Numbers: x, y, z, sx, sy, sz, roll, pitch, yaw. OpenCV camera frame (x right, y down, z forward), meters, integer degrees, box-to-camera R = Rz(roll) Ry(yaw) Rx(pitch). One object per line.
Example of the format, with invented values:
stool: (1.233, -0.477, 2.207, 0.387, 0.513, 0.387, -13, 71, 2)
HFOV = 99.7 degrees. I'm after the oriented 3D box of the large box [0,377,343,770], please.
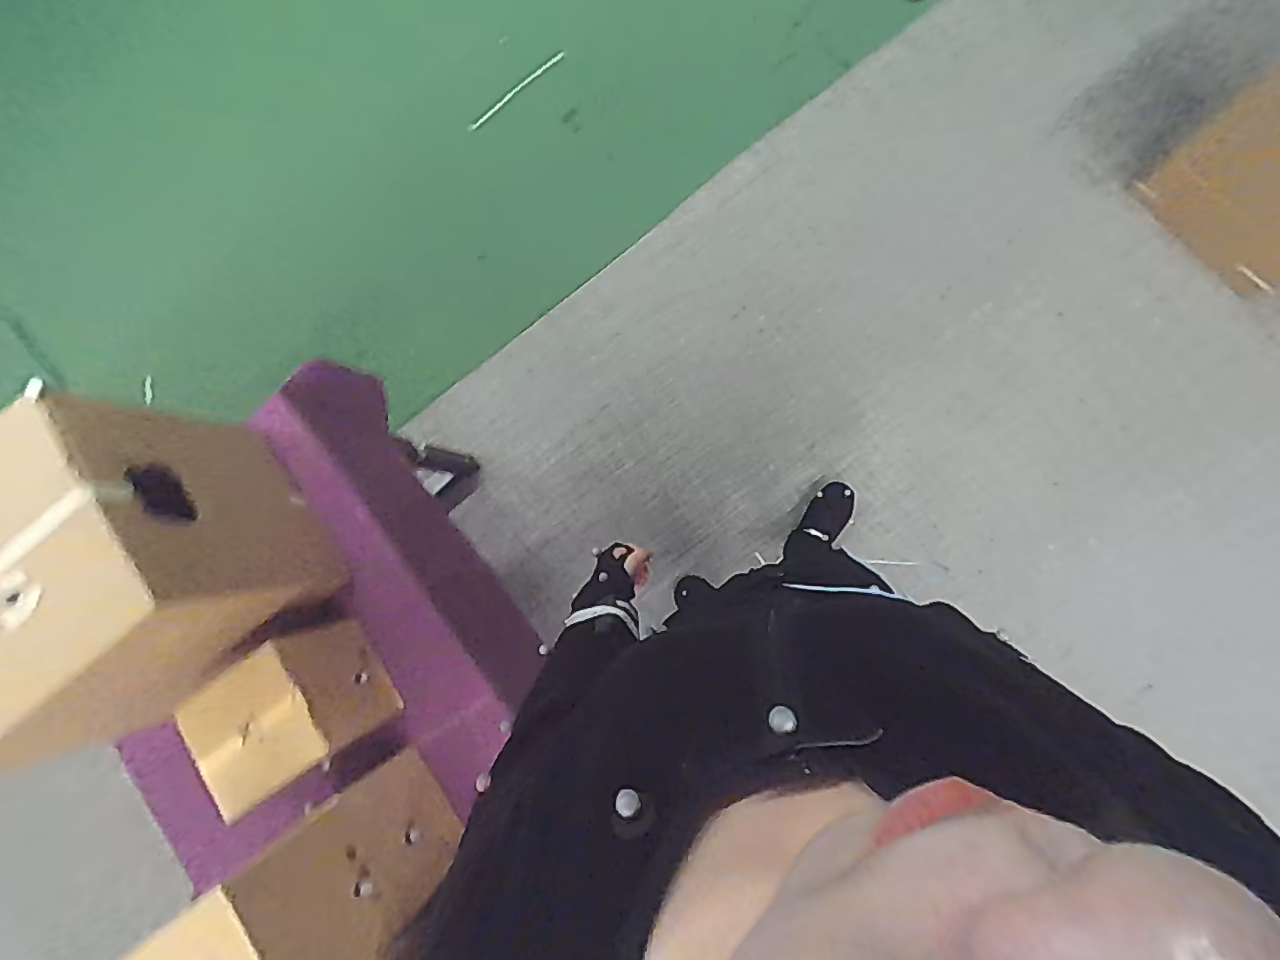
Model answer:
large box: (-0.736, 0.135, 0.756, 0.408, 0.320, 0.320, -37, 82, 3)
